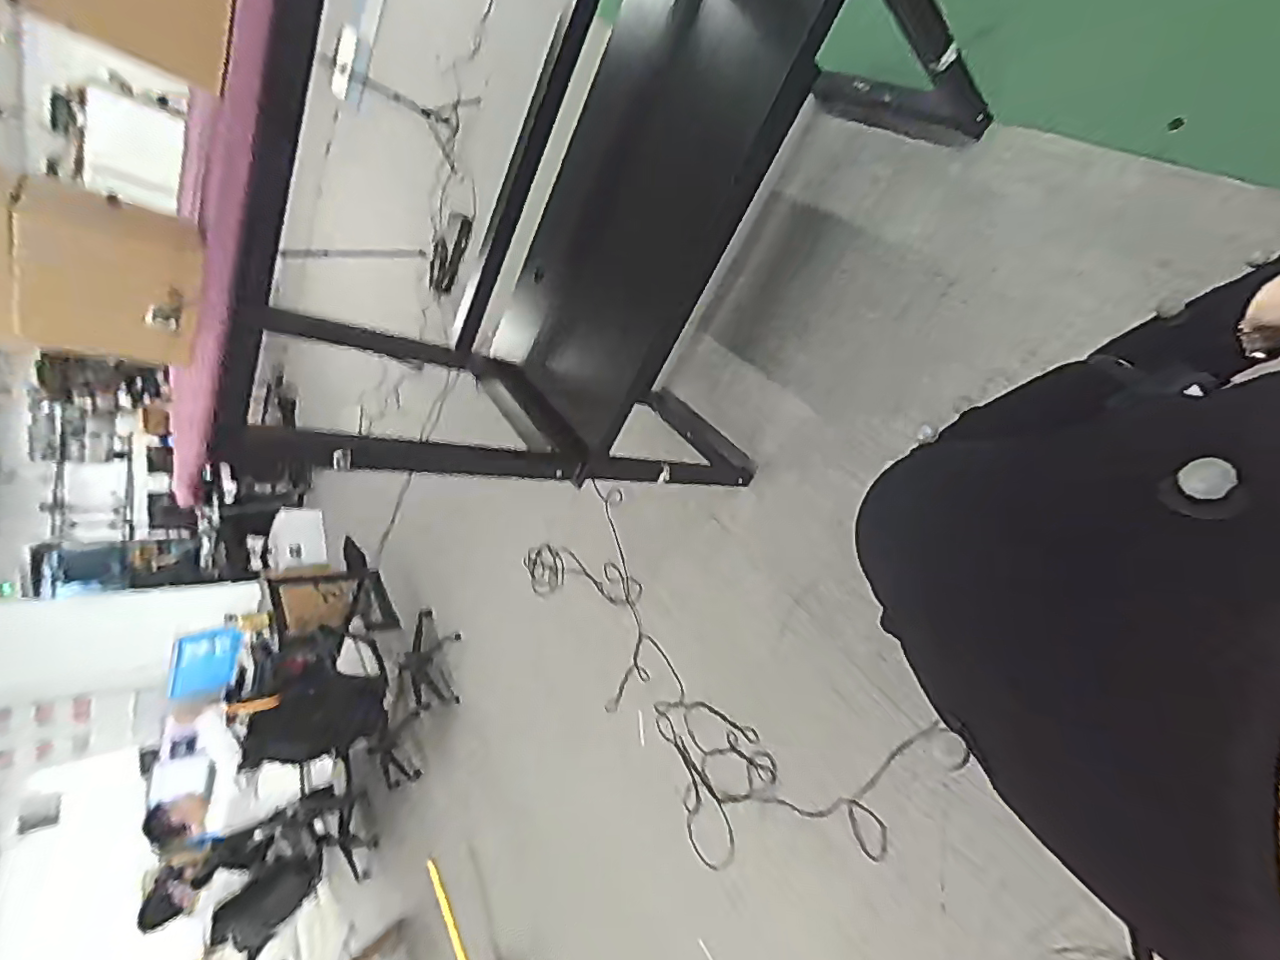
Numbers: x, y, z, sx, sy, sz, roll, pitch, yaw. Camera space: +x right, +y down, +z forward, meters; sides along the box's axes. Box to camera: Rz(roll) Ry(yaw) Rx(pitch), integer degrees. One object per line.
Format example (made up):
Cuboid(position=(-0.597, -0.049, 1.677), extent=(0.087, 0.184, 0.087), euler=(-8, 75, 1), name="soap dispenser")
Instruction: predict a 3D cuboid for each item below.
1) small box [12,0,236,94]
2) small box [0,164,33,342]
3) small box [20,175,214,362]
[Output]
Cuboid(position=(-0.558, -0.573, 0.601), extent=(0.168, 0.176, 0.179), euler=(49, 121, 37), name="small box")
Cuboid(position=(-0.813, -0.275, 0.611), extent=(0.168, 0.176, 0.179), euler=(43, 118, 37), name="small box")
Cuboid(position=(-0.692, -0.273, 0.723), extent=(0.179, 0.176, 0.168), euler=(43, 118, 37), name="small box")
